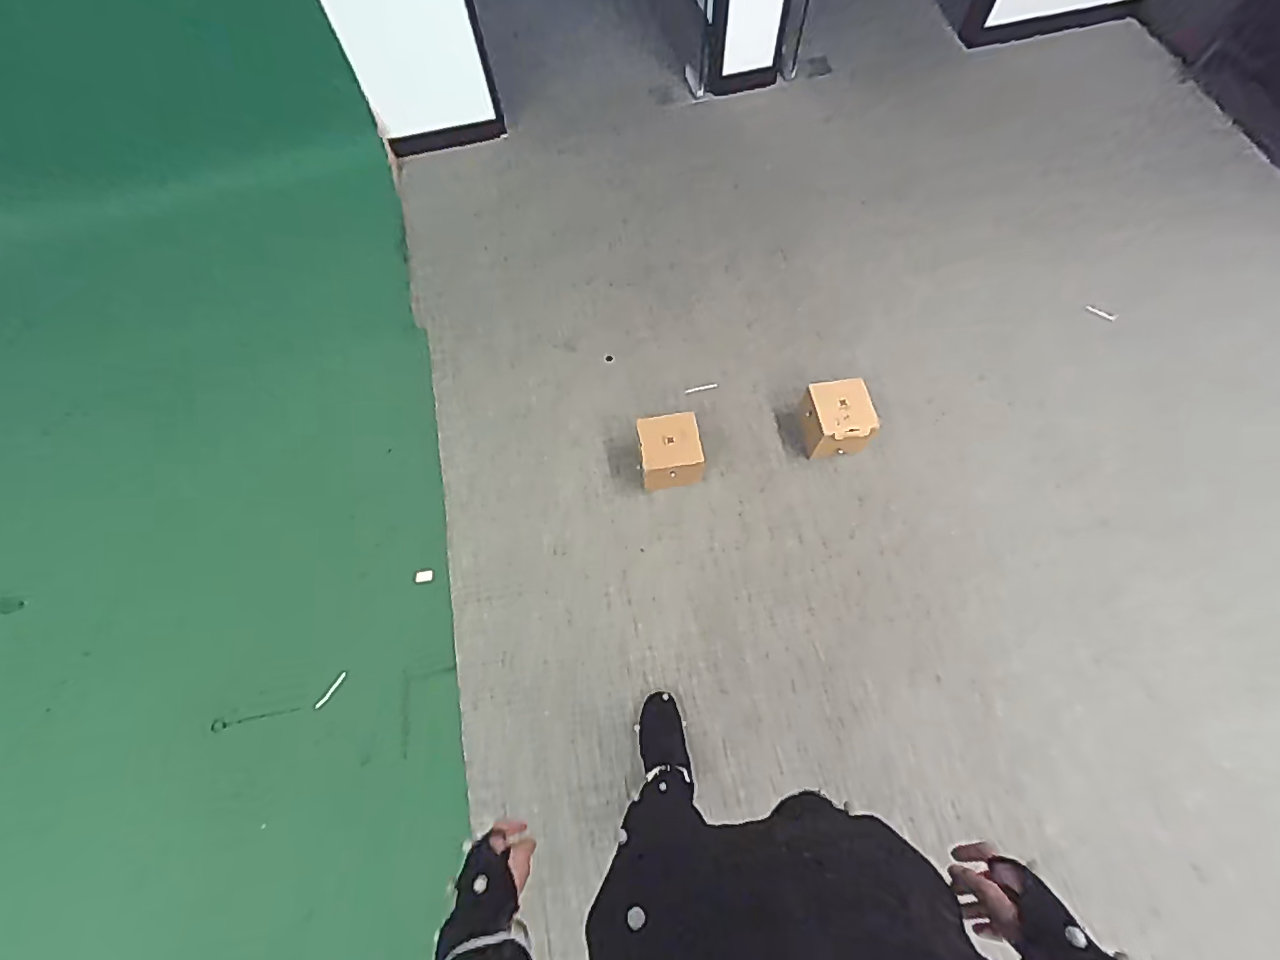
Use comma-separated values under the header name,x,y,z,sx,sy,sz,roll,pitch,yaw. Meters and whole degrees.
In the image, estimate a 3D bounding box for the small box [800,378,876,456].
name,x,y,z,sx,sy,sz,roll,pitch,yaw
small box,0.590,-0.187,1.634,0.168,0.176,0.179,-3,68,3

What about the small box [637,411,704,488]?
name,x,y,z,sx,sy,sz,roll,pitch,yaw
small box,0.089,-0.086,1.613,0.179,0.176,0.168,-8,68,-2
